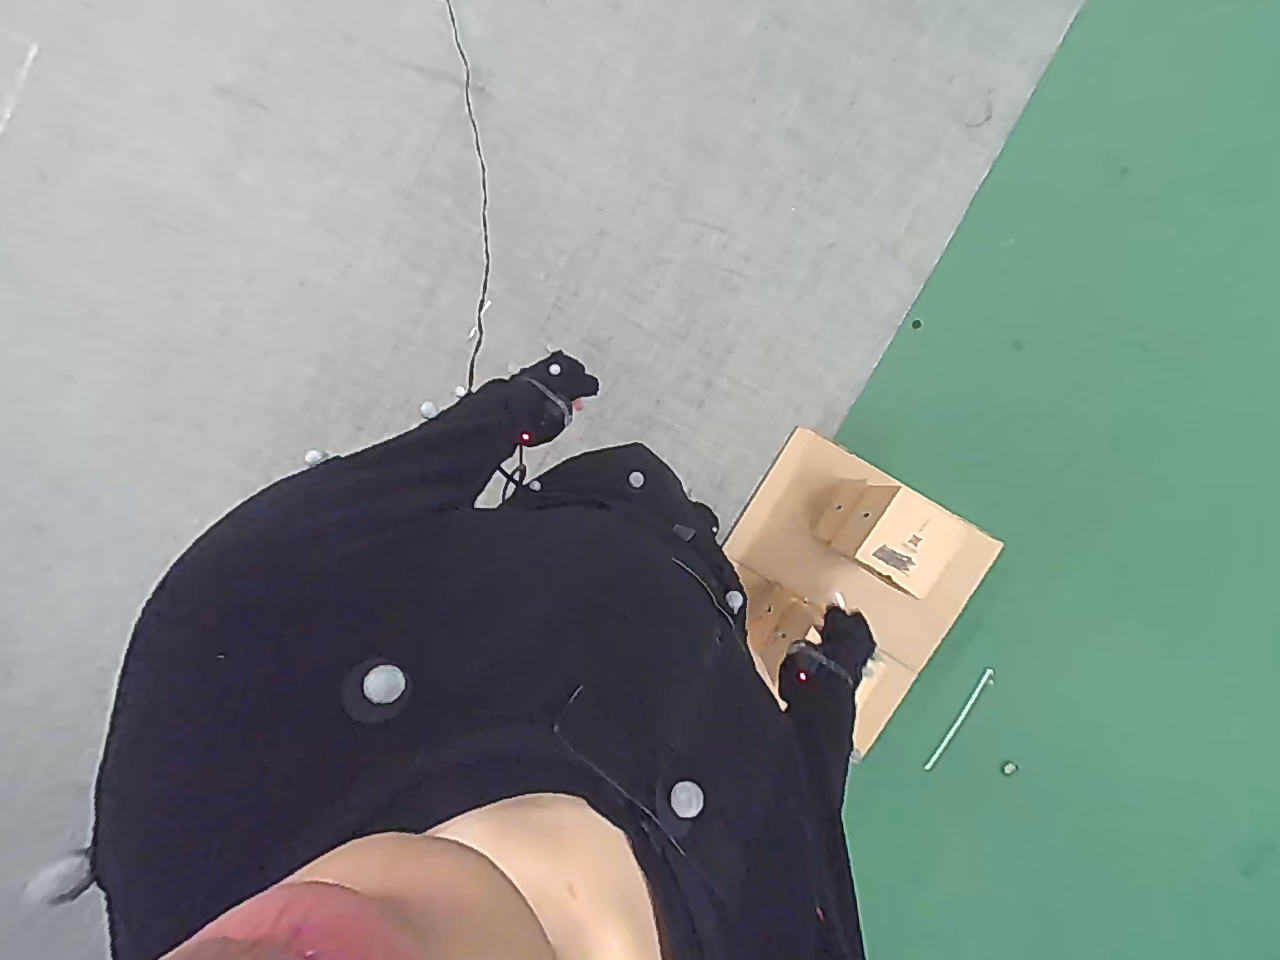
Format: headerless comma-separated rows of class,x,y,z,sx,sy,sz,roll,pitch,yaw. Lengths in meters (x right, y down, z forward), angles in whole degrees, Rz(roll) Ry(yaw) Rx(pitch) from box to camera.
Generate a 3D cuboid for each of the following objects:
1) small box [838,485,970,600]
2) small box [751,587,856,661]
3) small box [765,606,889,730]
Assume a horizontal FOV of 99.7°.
small box,0.552,0.127,1.166,0.168,0.176,0.179,34,91,2
small box,0.400,0.388,1.353,0.179,0.176,0.168,29,93,3
small box,0.399,0.399,1.187,0.179,0.176,0.168,32,93,3
